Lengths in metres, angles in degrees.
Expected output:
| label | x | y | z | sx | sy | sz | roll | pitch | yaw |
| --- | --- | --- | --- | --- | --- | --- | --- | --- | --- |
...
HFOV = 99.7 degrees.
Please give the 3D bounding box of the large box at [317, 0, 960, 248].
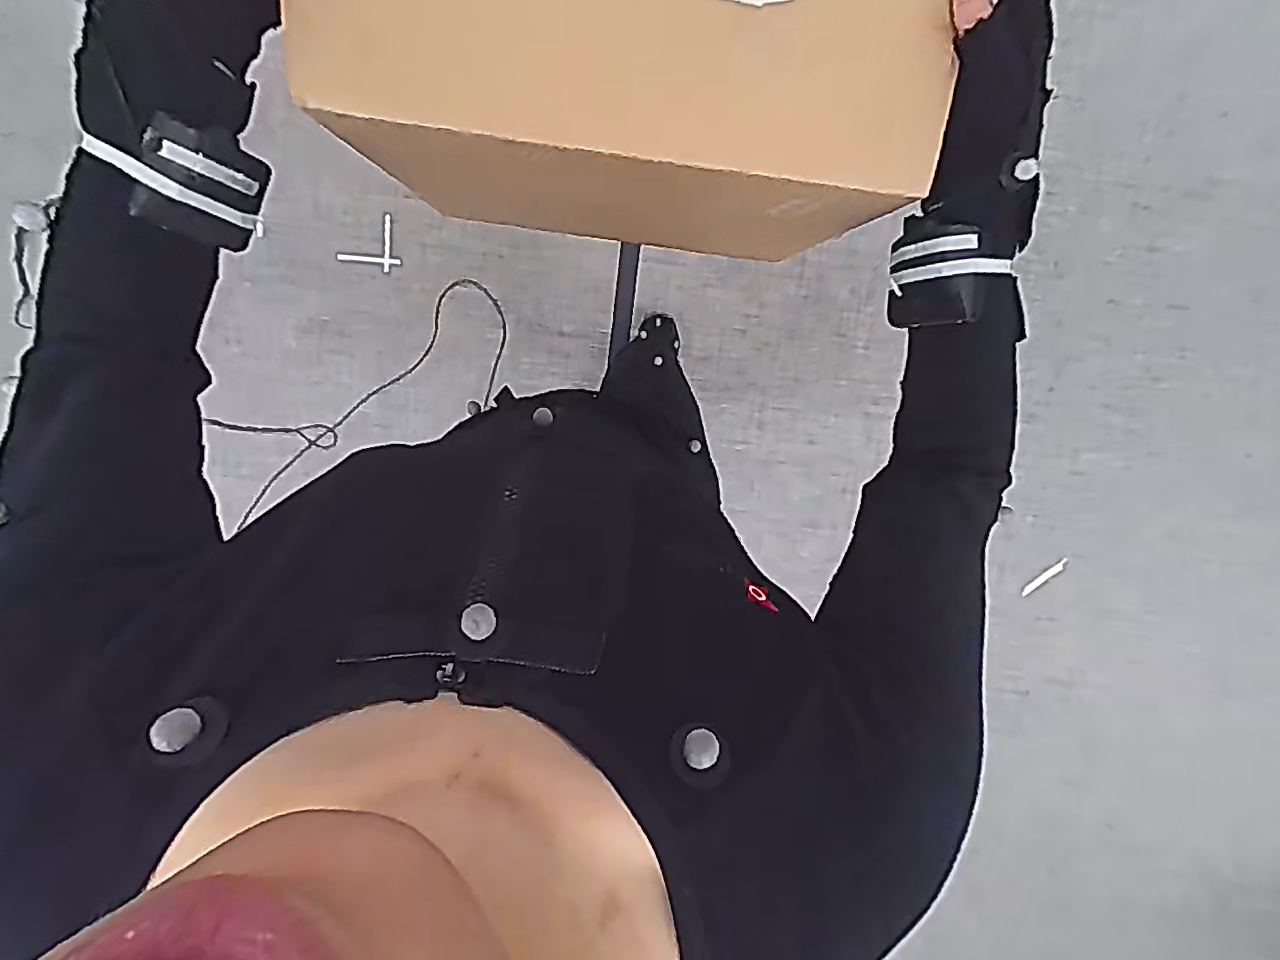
| label | x | y | z | sx | sy | sz | roll | pitch | yaw |
| --- | --- | --- | --- | --- | --- | --- | --- | --- | --- |
| large box | 0.001 | -0.404 | 0.459 | 0.408 | 0.320 | 0.320 | 5 | 105 | -6 |
